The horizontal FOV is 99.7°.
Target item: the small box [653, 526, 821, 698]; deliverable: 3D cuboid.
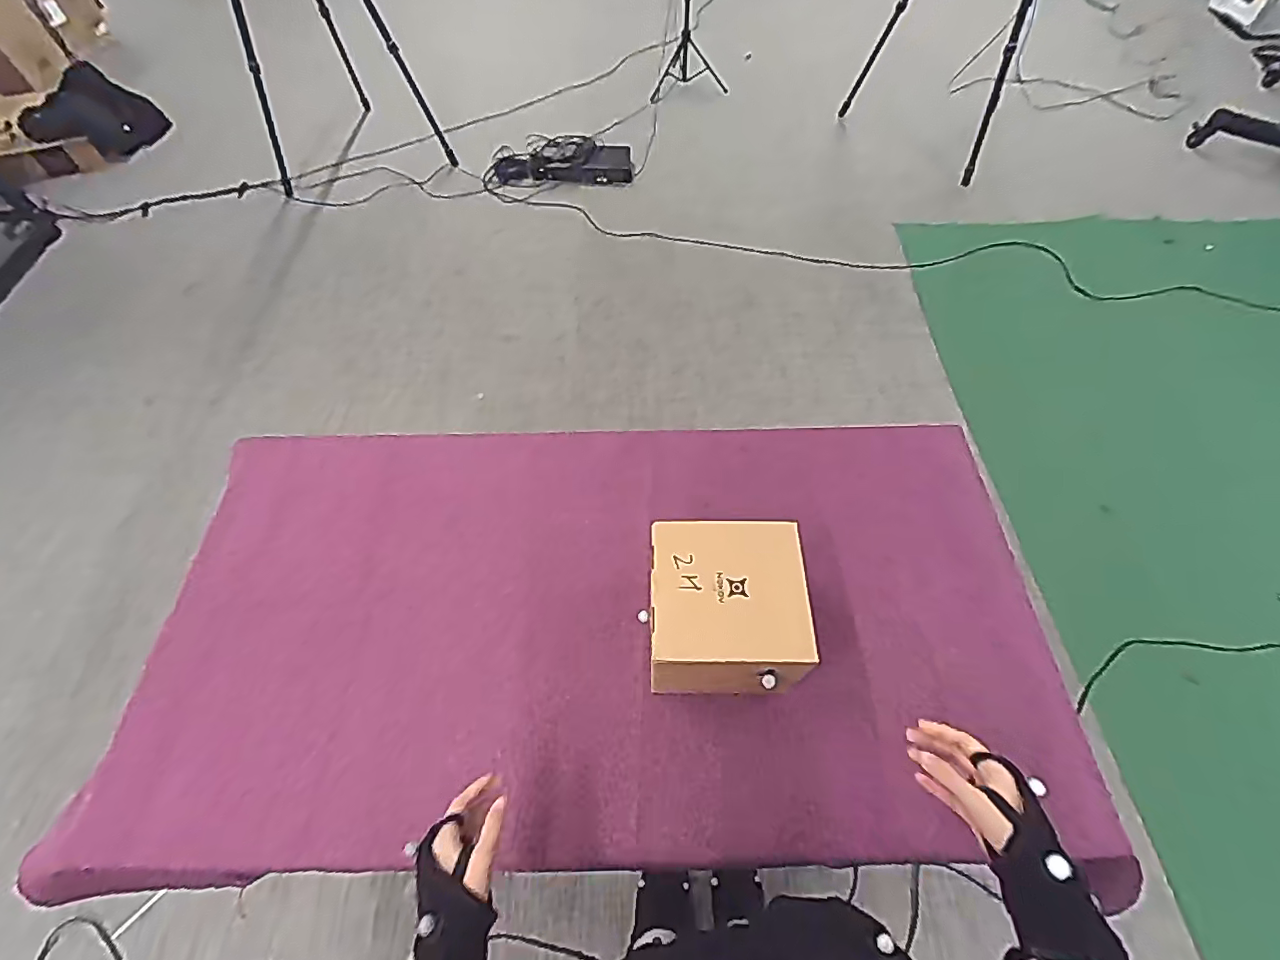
[{"bbox_3d":[0.105,0.168,0.671,0.179,0.176,0.168,0,57,1],"label":"small box"}]
